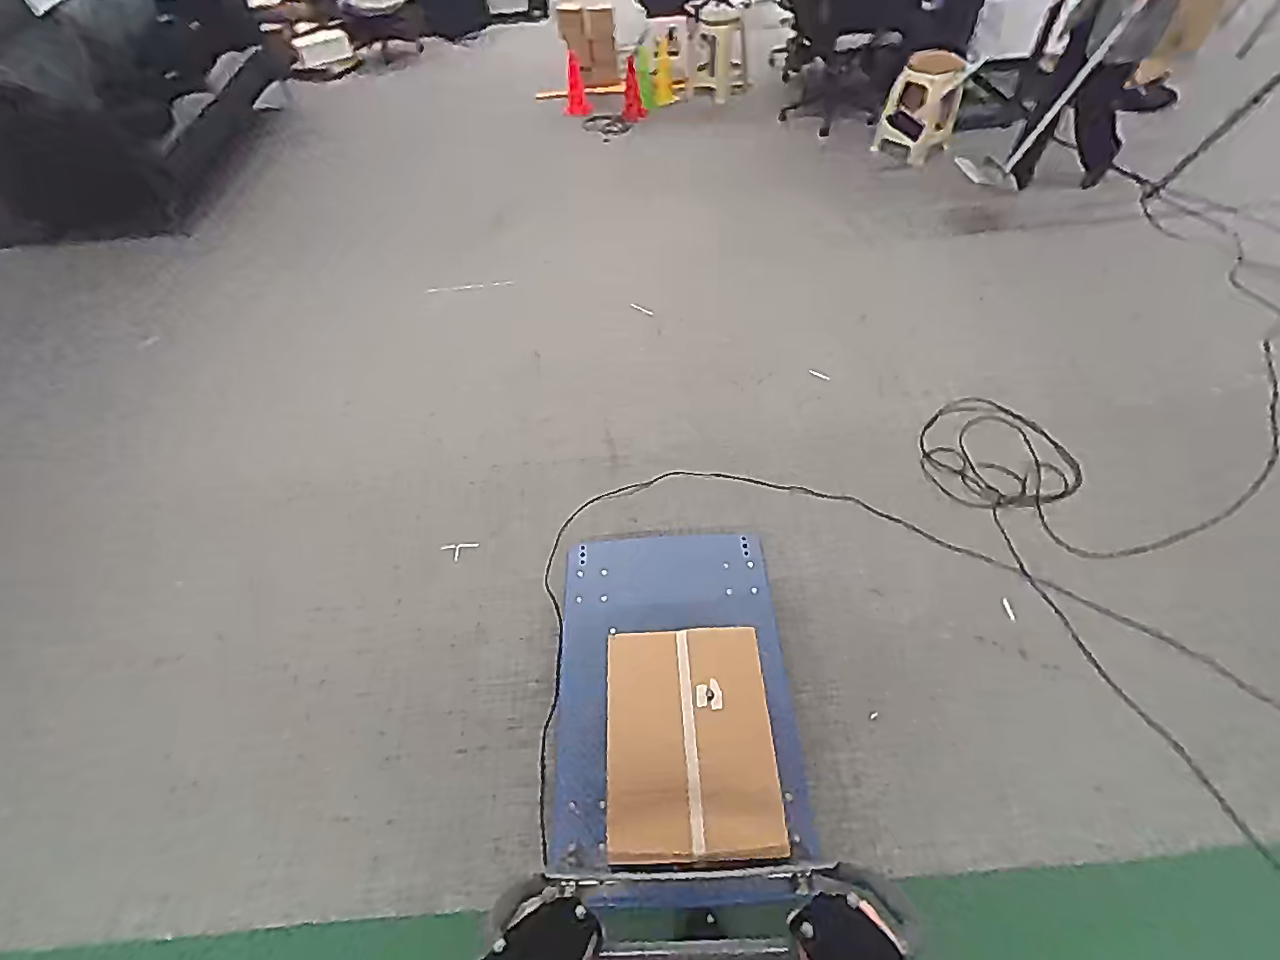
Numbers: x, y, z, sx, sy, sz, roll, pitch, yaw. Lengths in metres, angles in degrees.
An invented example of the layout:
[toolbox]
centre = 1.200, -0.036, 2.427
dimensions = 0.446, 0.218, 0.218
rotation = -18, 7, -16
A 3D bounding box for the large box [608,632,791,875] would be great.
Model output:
[large box]
centre = 0.103, 0.579, 1.146
dimensions = 0.320, 0.320, 0.408
rotation = -3, 53, 1
